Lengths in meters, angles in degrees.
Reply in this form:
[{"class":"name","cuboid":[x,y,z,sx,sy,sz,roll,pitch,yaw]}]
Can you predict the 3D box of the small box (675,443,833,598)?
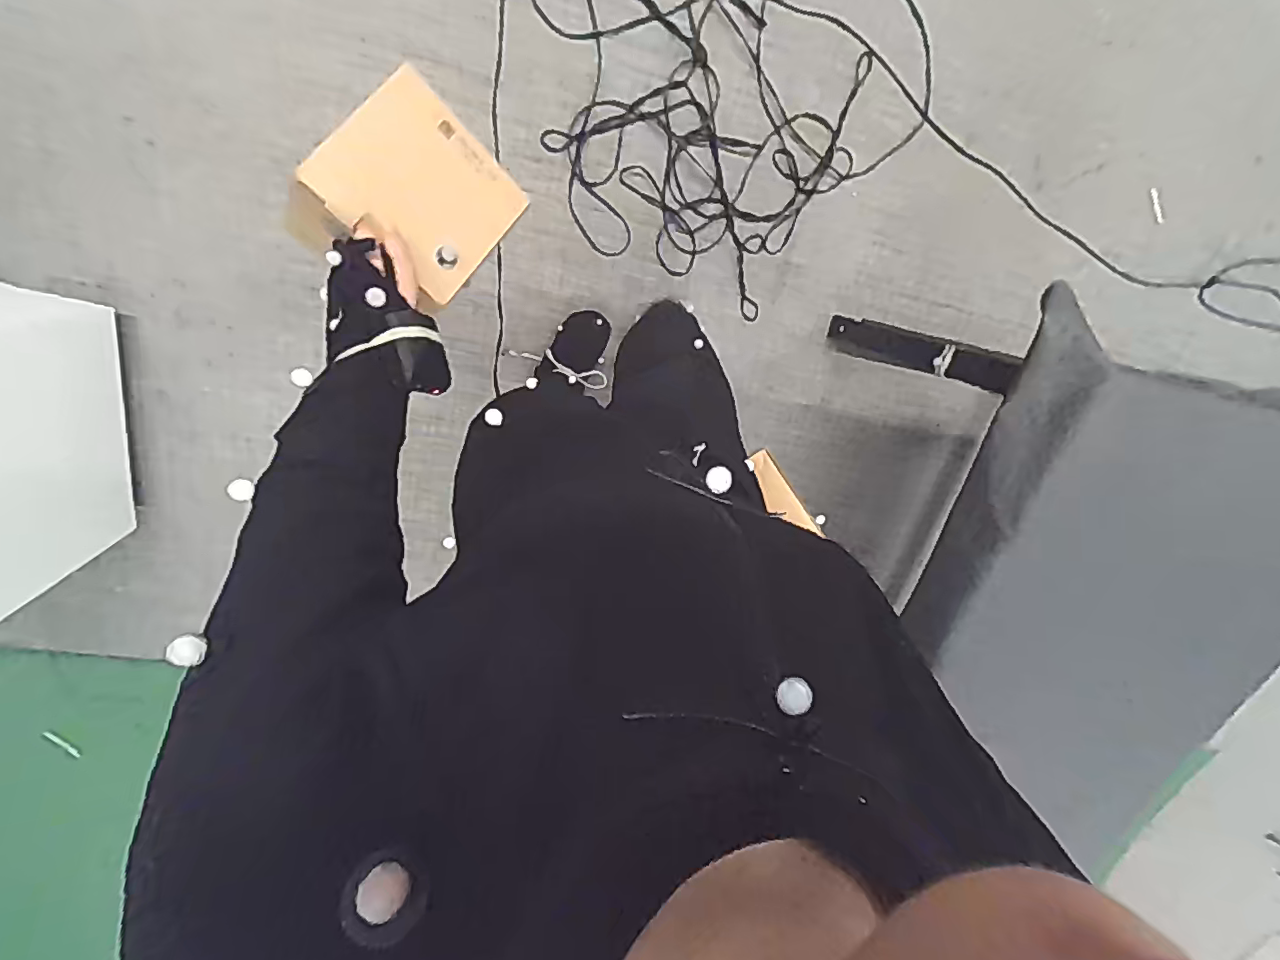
[{"class":"small box","cuboid":[0.176,0.052,0.846,0.168,0.179,0.176,-35,86,14]}]
